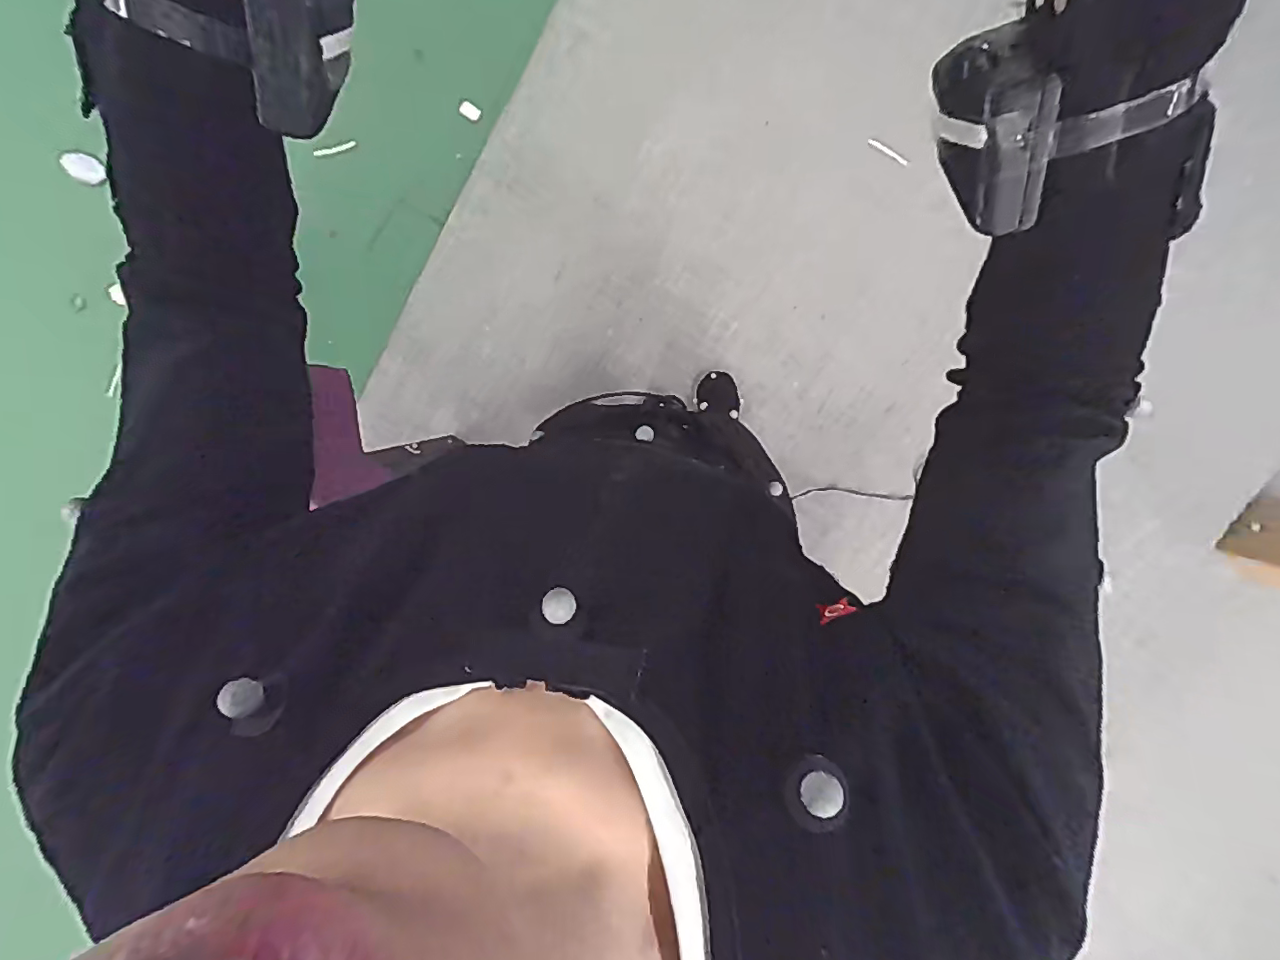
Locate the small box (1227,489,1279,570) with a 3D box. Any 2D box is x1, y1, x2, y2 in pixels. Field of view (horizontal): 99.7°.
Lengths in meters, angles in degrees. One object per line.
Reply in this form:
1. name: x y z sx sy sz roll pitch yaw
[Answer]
1. small box: 1.604 0.138 1.293 0.179 0.176 0.168 31 100 -1
